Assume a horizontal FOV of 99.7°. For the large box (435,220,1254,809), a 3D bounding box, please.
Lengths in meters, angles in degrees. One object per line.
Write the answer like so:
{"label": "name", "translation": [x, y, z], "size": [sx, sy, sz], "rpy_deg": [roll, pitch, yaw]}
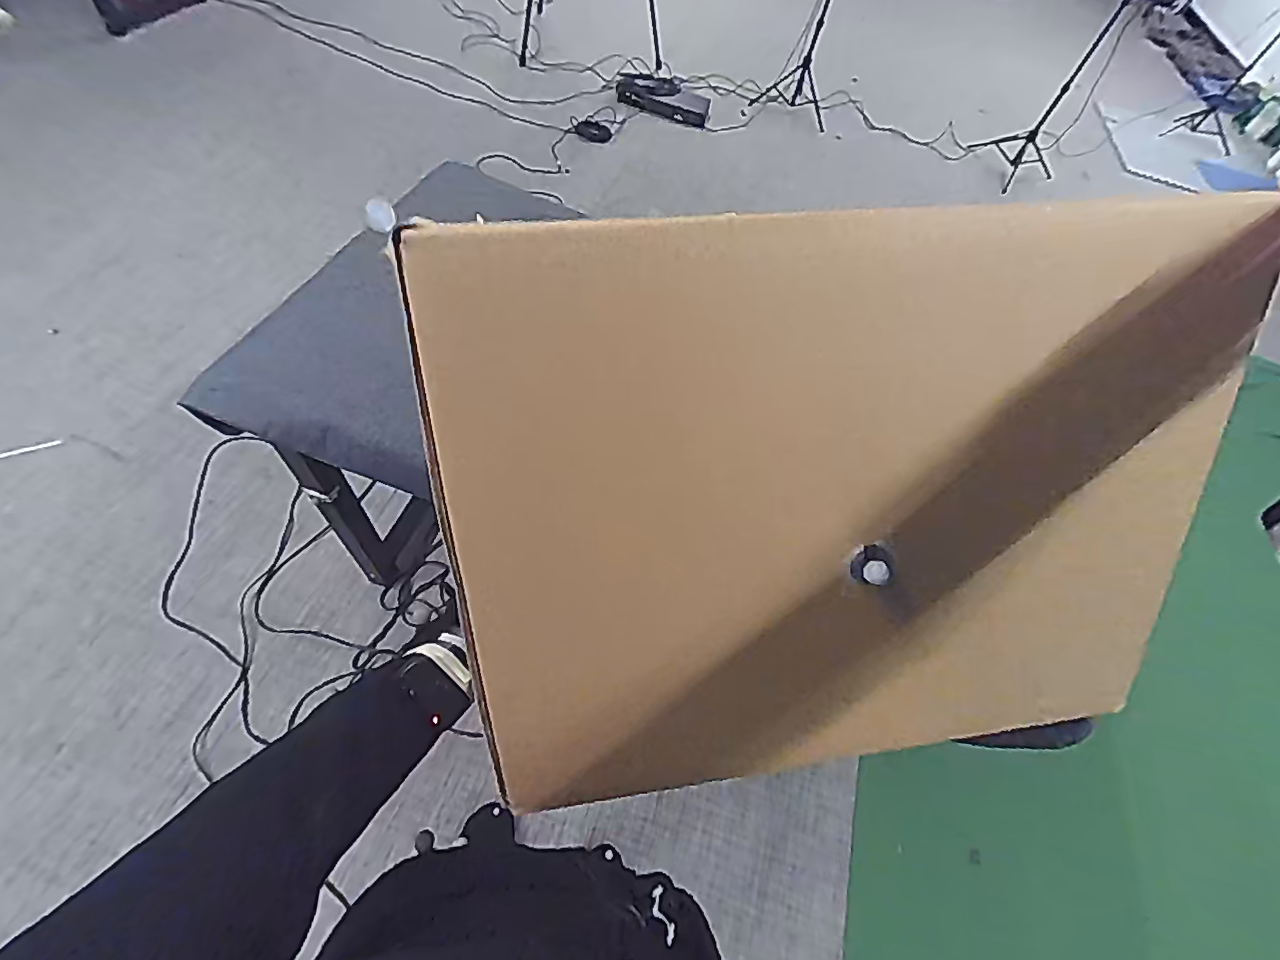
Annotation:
{"label": "large box", "translation": [0.098, -0.016, 0.431], "size": [0.408, 0.320, 0.320], "rpy_deg": [-8, 22, -8]}
